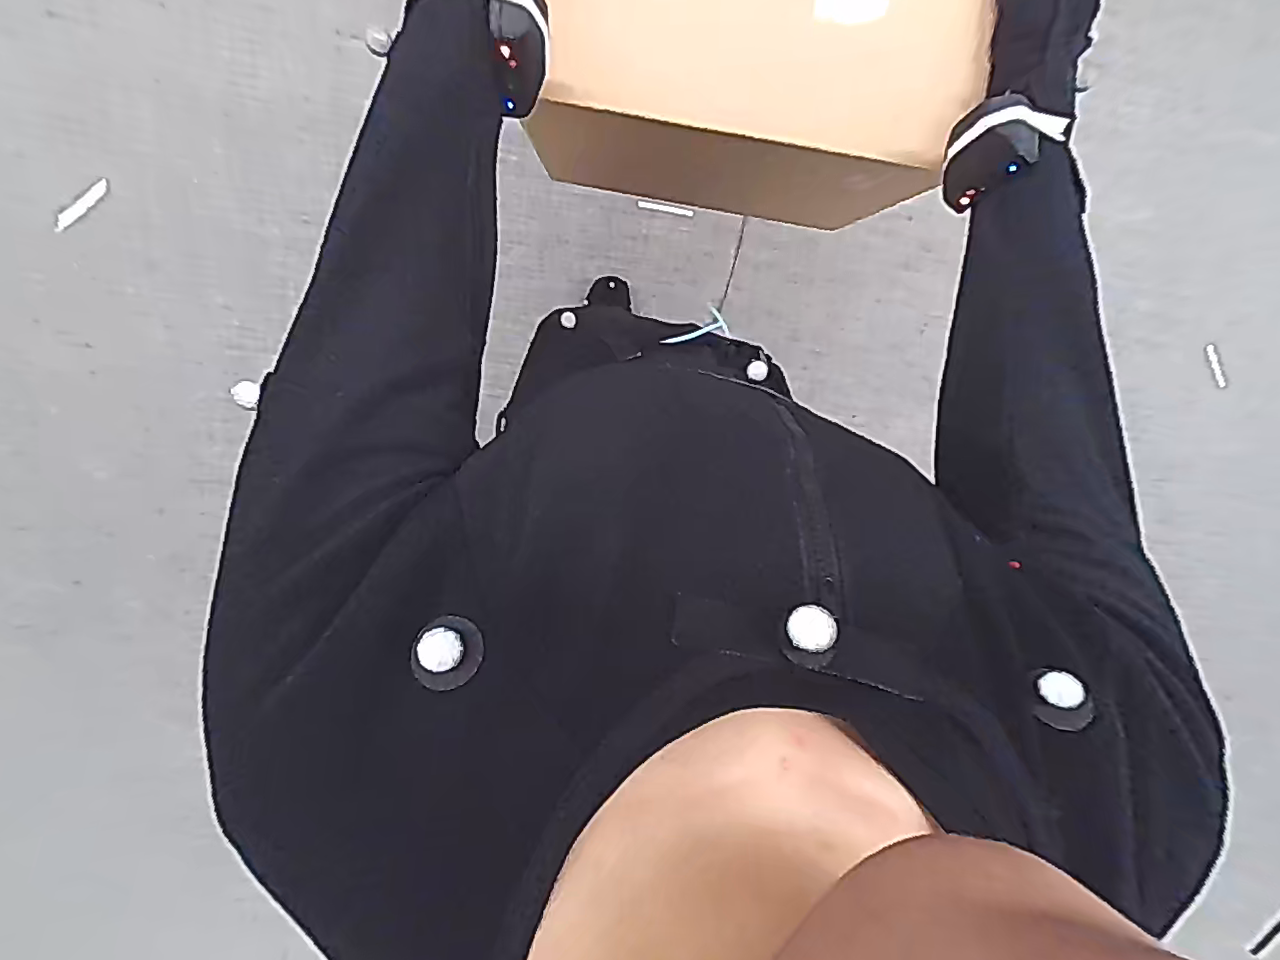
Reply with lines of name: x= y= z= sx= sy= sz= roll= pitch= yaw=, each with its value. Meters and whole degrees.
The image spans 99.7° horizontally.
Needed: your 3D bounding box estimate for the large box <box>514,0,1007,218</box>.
large box: x=0.105 y=-0.493 z=0.562 sx=0.408 sy=0.320 sz=0.320 roll=8 pitch=108 yaw=-5
